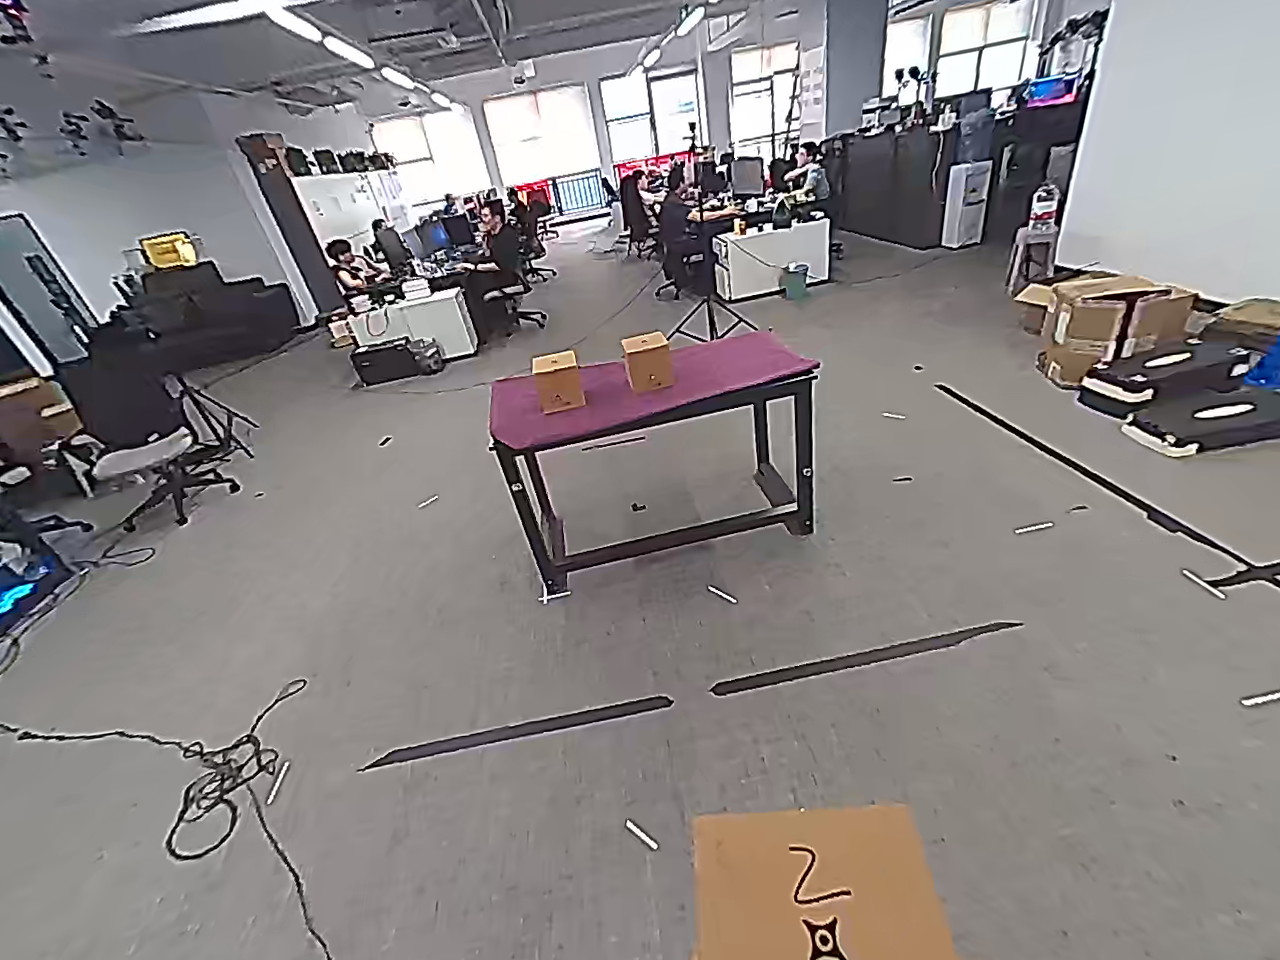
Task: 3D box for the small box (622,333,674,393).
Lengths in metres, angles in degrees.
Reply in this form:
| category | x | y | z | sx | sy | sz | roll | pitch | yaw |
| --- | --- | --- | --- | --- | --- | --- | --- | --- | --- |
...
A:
| category | x | y | z | sx | sy | sz | roll | pitch | yaw |
| --- | --- | --- | --- | --- | --- | --- | --- | --- | --- |
| small box | 0.030 | -0.459 | 2.119 | 0.168 | 0.176 | 0.179 | -13 | 32 | -2 |

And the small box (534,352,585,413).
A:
| category | x | y | z | sx | sy | sz | roll | pitch | yaw |
| --- | --- | --- | --- | --- | --- | --- | --- | --- | --- |
| small box | -0.314 | -0.378 | 2.101 | 0.168 | 0.176 | 0.179 | -13 | 33 | -4 |
